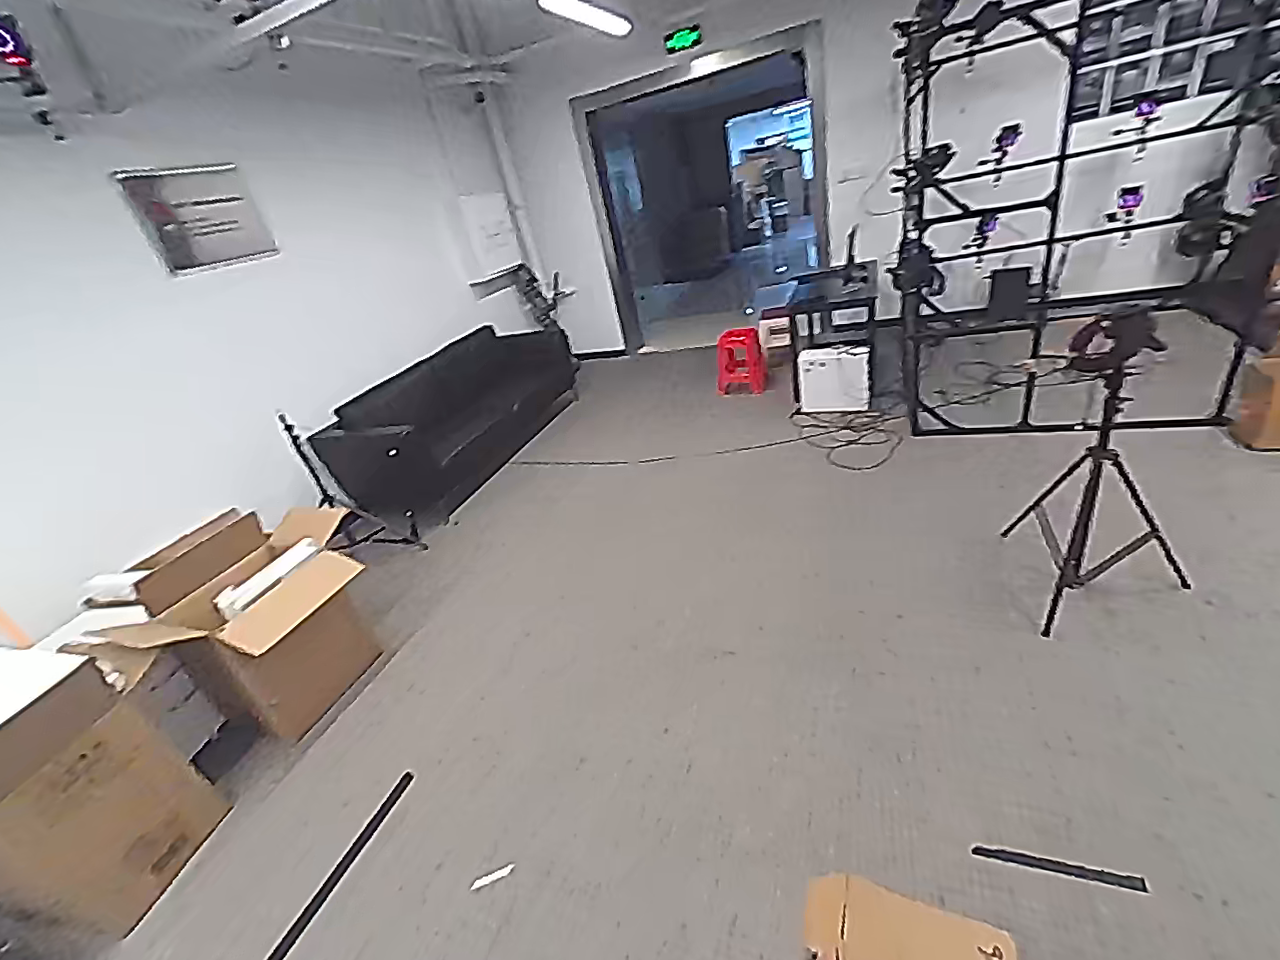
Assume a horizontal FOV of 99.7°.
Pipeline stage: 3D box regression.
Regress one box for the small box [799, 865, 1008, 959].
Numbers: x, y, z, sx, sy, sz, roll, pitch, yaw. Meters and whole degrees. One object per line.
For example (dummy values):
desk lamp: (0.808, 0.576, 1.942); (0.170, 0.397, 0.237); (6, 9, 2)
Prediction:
small box: (0.275, 0.559, 0.595); (0.179, 0.176, 0.168); (15, 52, 11)
